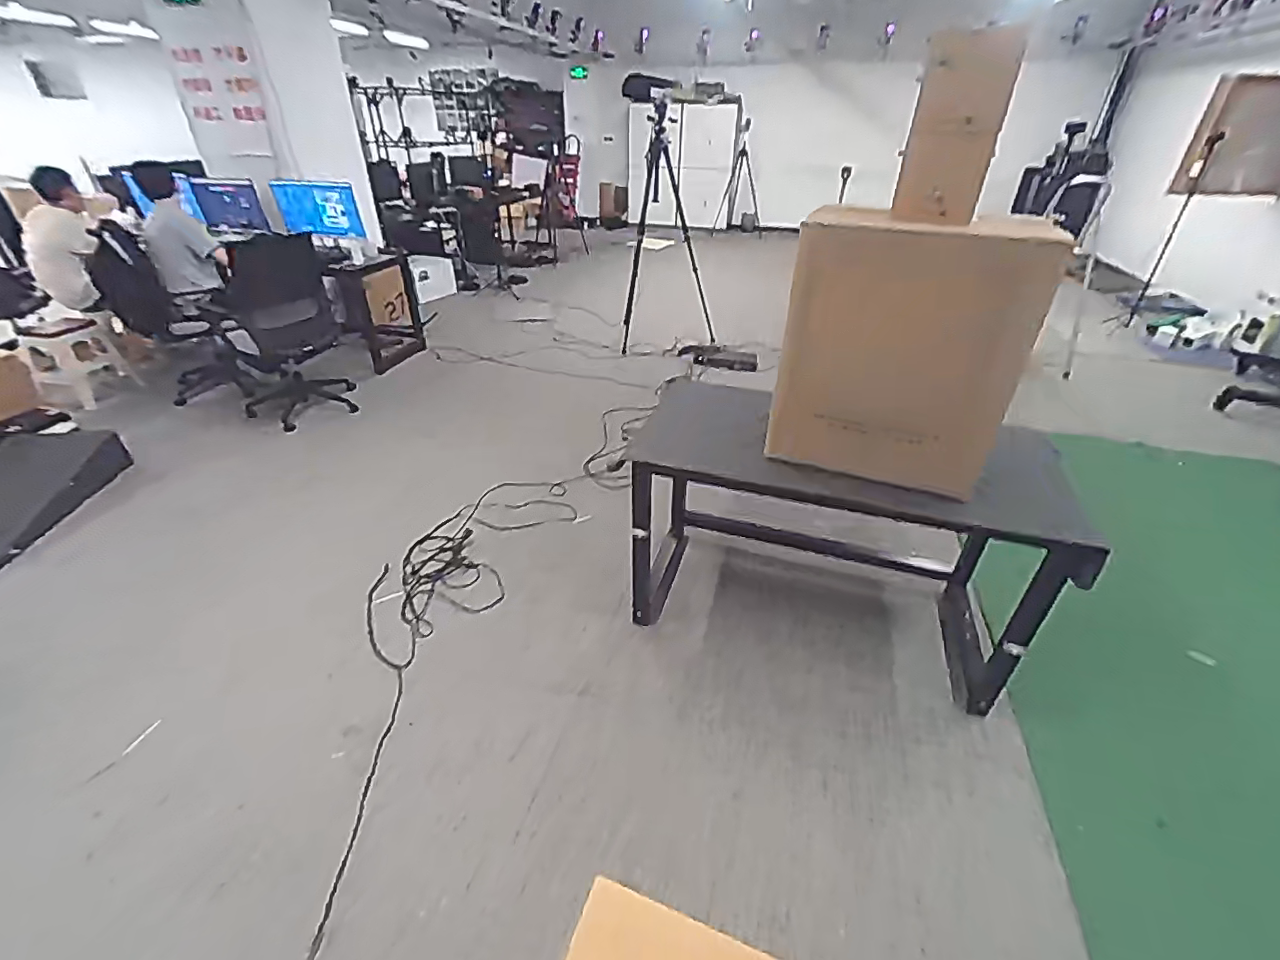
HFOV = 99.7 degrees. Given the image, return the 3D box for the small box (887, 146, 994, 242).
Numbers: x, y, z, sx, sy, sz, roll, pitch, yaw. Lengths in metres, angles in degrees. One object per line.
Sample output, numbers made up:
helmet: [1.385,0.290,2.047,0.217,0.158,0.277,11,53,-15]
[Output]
small box: [0.668,-0.648,1.217,0.168,0.176,0.179,14,37,19]
